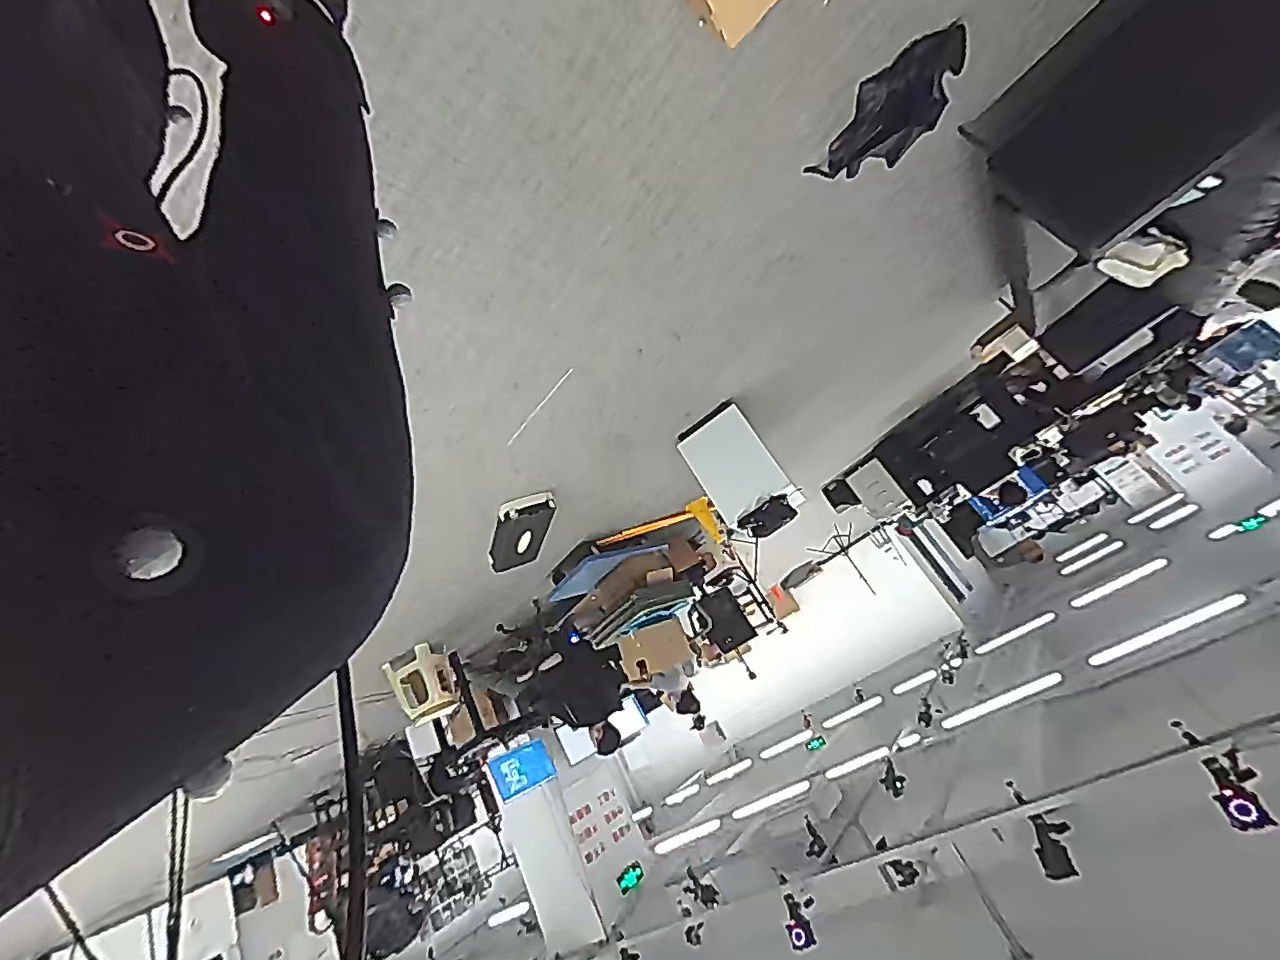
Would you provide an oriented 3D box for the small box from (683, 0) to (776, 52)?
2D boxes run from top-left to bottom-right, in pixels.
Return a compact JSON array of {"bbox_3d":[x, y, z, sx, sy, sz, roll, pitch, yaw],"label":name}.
[{"bbox_3d":[0.174,-1.059,1.115,0.179,0.176,0.168,-40,157,21],"label":"small box"}]
